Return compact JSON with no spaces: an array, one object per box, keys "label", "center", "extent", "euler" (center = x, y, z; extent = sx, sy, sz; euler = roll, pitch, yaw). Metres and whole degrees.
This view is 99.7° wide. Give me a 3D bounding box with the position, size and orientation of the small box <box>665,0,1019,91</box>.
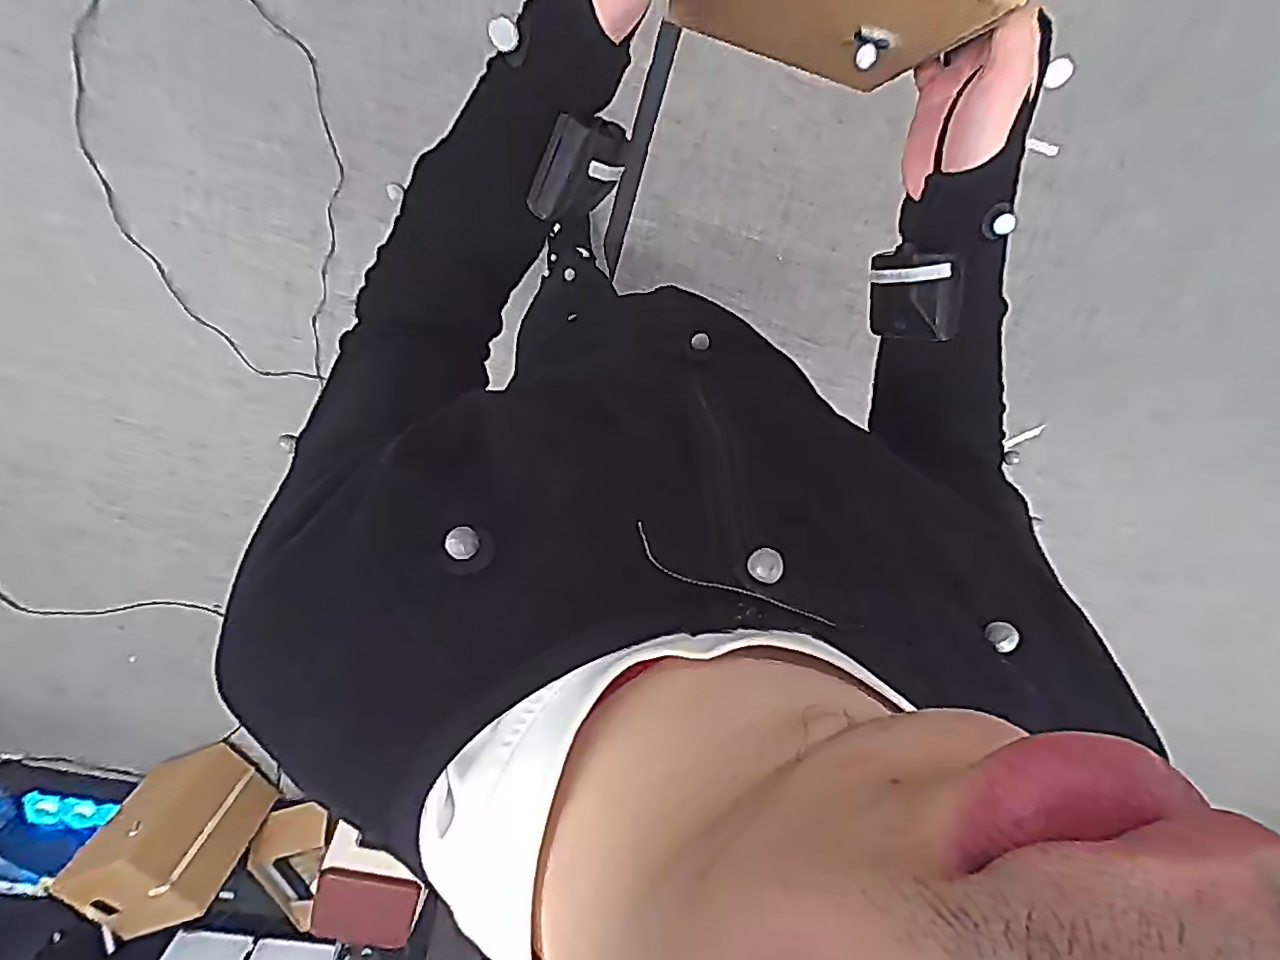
[{"label":"small box","center":[0.118,-0.354,0.297],"extent":[0.176,0.179,0.168],"euler":[12,113,-11]}]
